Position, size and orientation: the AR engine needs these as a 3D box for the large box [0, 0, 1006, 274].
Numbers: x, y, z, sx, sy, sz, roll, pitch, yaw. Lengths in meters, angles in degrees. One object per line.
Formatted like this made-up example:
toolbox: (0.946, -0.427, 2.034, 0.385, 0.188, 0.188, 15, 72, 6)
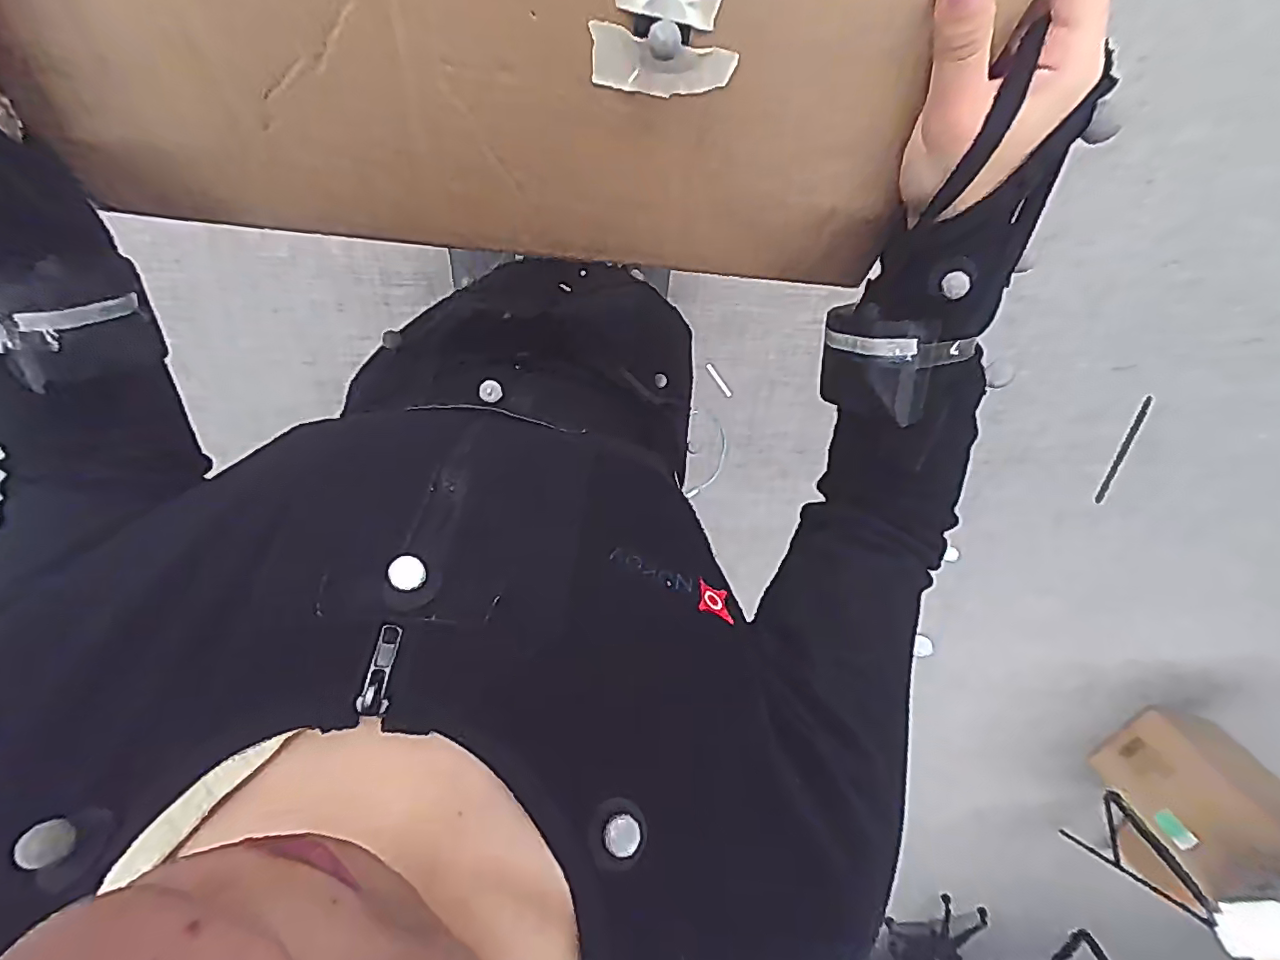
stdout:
large box: (-0.055, -0.335, 0.253, 0.408, 0.320, 0.320, 2, 150, -8)
